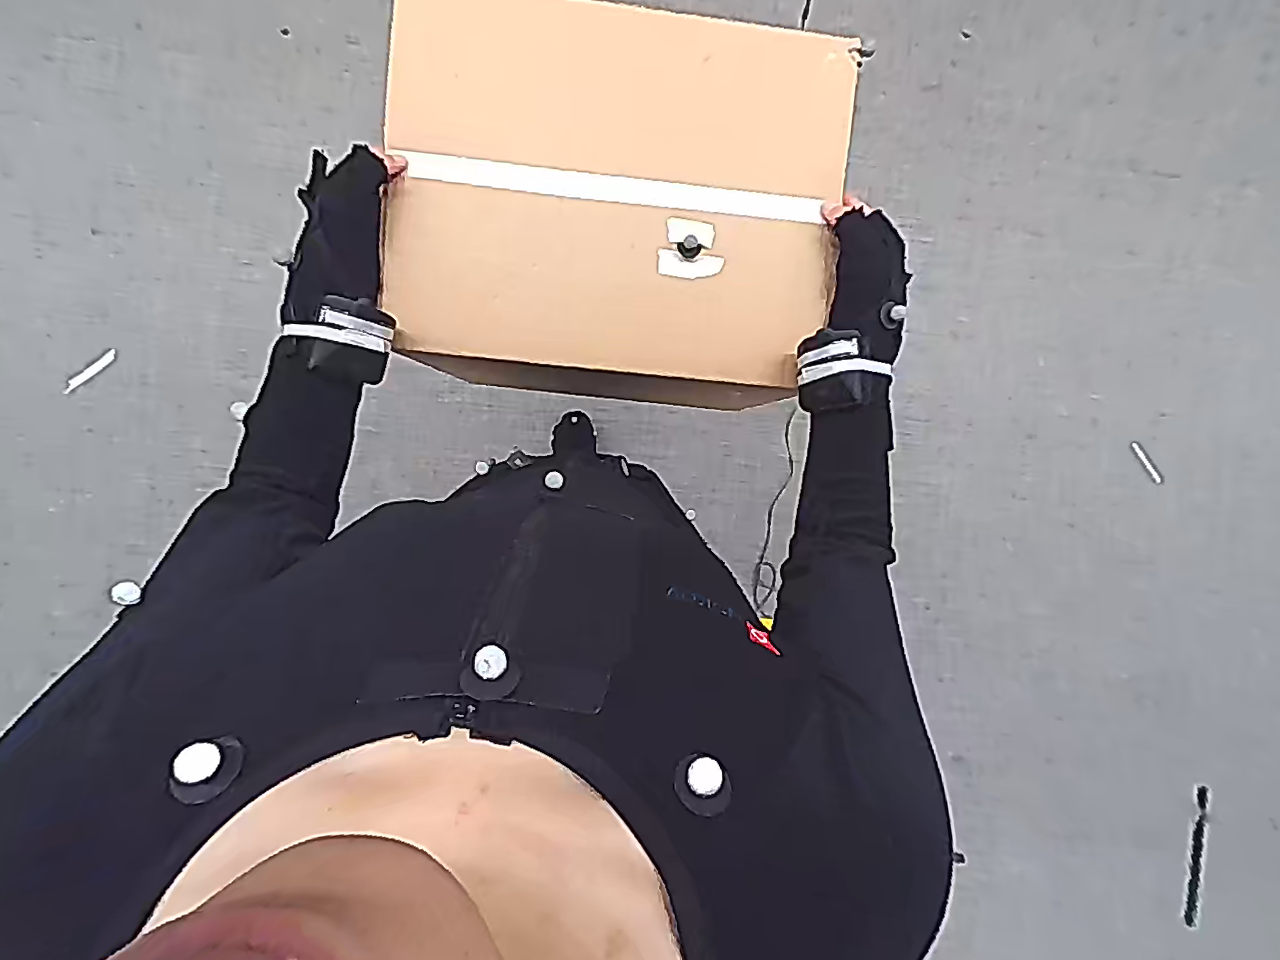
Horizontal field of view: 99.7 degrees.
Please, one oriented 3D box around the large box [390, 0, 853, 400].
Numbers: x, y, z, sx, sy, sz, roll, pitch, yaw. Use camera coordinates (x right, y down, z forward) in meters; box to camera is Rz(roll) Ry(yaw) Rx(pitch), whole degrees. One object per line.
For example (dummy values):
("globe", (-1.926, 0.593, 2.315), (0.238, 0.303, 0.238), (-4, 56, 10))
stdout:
("large box", (-0.026, -0.274, 0.631), (0.408, 0.320, 0.320), (5, 94, -4))
